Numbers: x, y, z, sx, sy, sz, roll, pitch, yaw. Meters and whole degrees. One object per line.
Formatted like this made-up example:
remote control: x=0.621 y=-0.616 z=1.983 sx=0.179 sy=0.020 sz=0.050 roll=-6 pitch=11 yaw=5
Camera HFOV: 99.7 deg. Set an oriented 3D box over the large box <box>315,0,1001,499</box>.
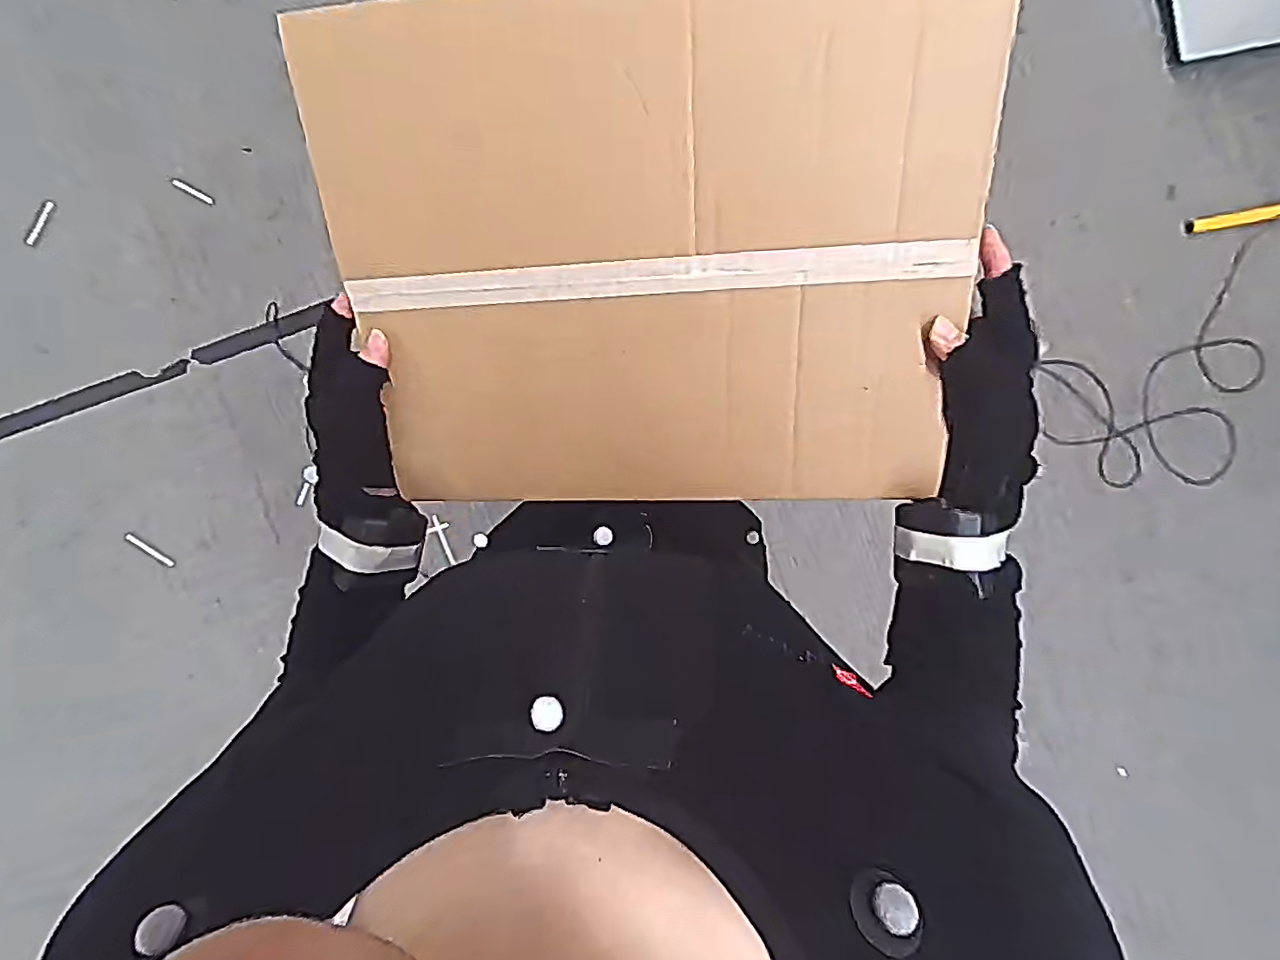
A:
large box: x=0.020 y=-0.188 z=0.498 sx=0.408 sy=0.320 sz=0.320 roll=-1 pitch=114 yaw=7
